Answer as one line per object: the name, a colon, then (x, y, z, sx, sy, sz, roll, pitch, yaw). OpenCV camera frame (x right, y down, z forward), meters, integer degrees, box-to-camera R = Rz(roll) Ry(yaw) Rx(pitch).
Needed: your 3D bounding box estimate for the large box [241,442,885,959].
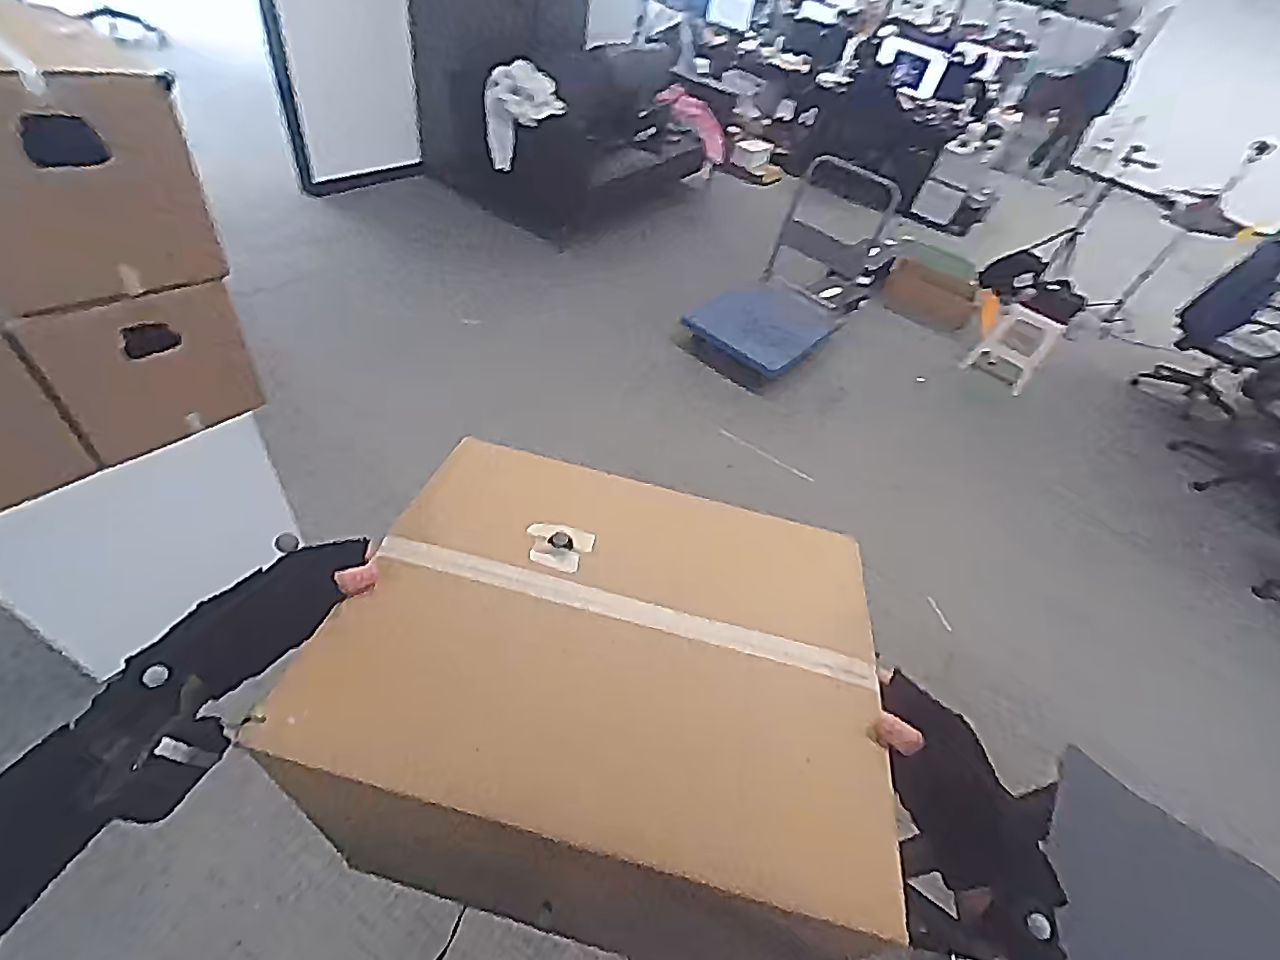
large box: (-0.040, 0.212, 0.527, 0.408, 0.320, 0.320, 14, 42, 4)
